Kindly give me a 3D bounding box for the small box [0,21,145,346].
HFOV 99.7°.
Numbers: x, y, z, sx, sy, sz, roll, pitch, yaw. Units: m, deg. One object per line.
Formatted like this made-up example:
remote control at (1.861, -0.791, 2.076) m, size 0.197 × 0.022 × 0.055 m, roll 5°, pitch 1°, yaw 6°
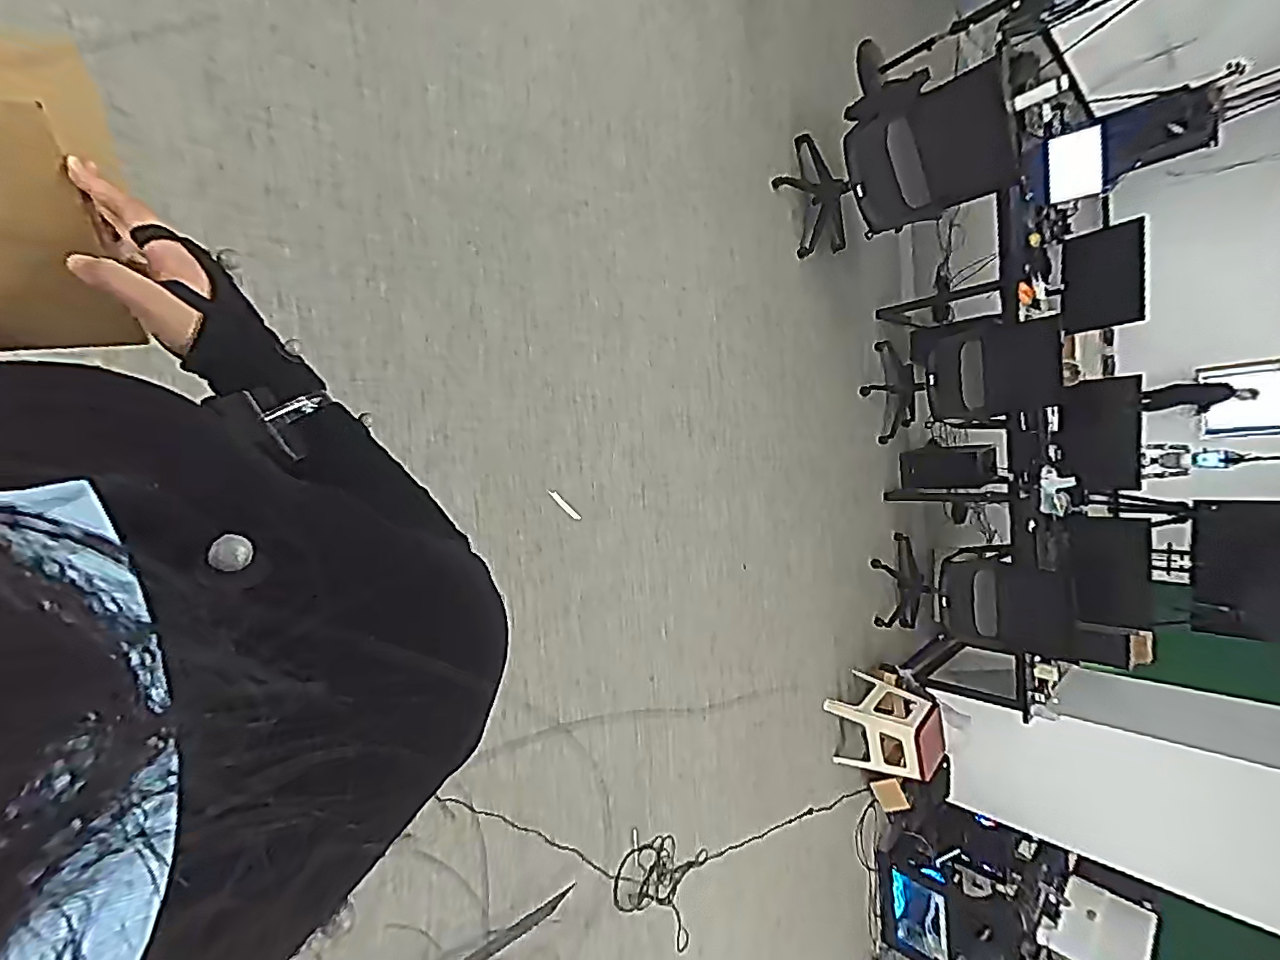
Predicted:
small box at (-0.496, -0.216, 0.393) m, size 0.168 × 0.176 × 0.179 m, roll -12°, pitch 140°, yaw -29°
